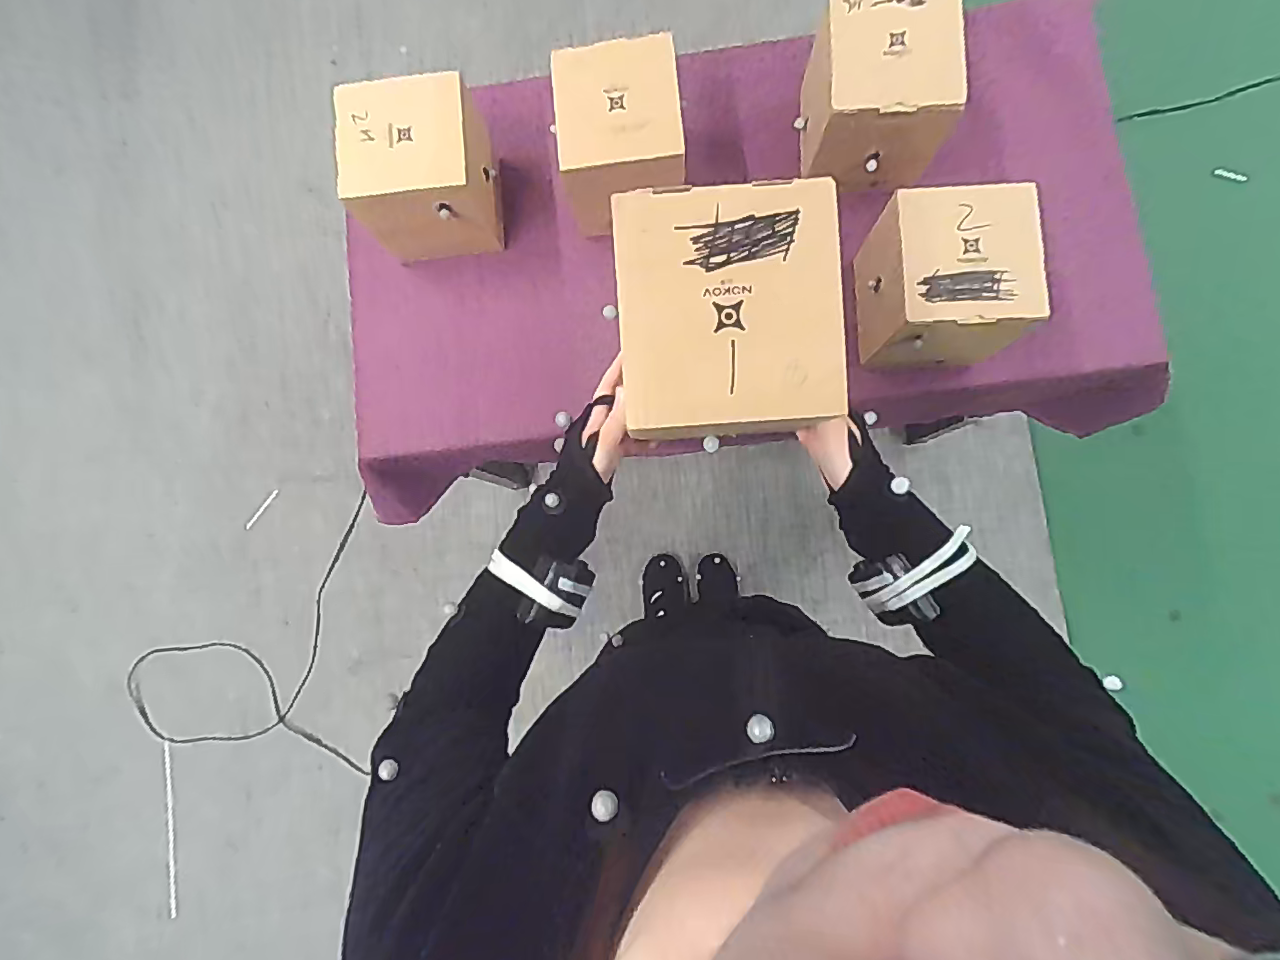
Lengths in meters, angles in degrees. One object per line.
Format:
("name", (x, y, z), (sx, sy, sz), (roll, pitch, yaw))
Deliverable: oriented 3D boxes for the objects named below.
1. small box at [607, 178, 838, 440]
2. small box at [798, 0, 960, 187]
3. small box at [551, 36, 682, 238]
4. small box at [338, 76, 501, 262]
("small box", (0.061, -0.131, 0.475), (0.168, 0.176, 0.179), (-4, 92, 2))
("small box", (0.325, -0.539, 0.763), (0.168, 0.176, 0.179), (1, 84, 4))
("small box", (-0.028, -0.484, 0.785), (0.168, 0.176, 0.179), (-5, 84, 4))
("small box", (-0.313, -0.446, 0.799), (0.179, 0.176, 0.168), (-5, 83, 3))
